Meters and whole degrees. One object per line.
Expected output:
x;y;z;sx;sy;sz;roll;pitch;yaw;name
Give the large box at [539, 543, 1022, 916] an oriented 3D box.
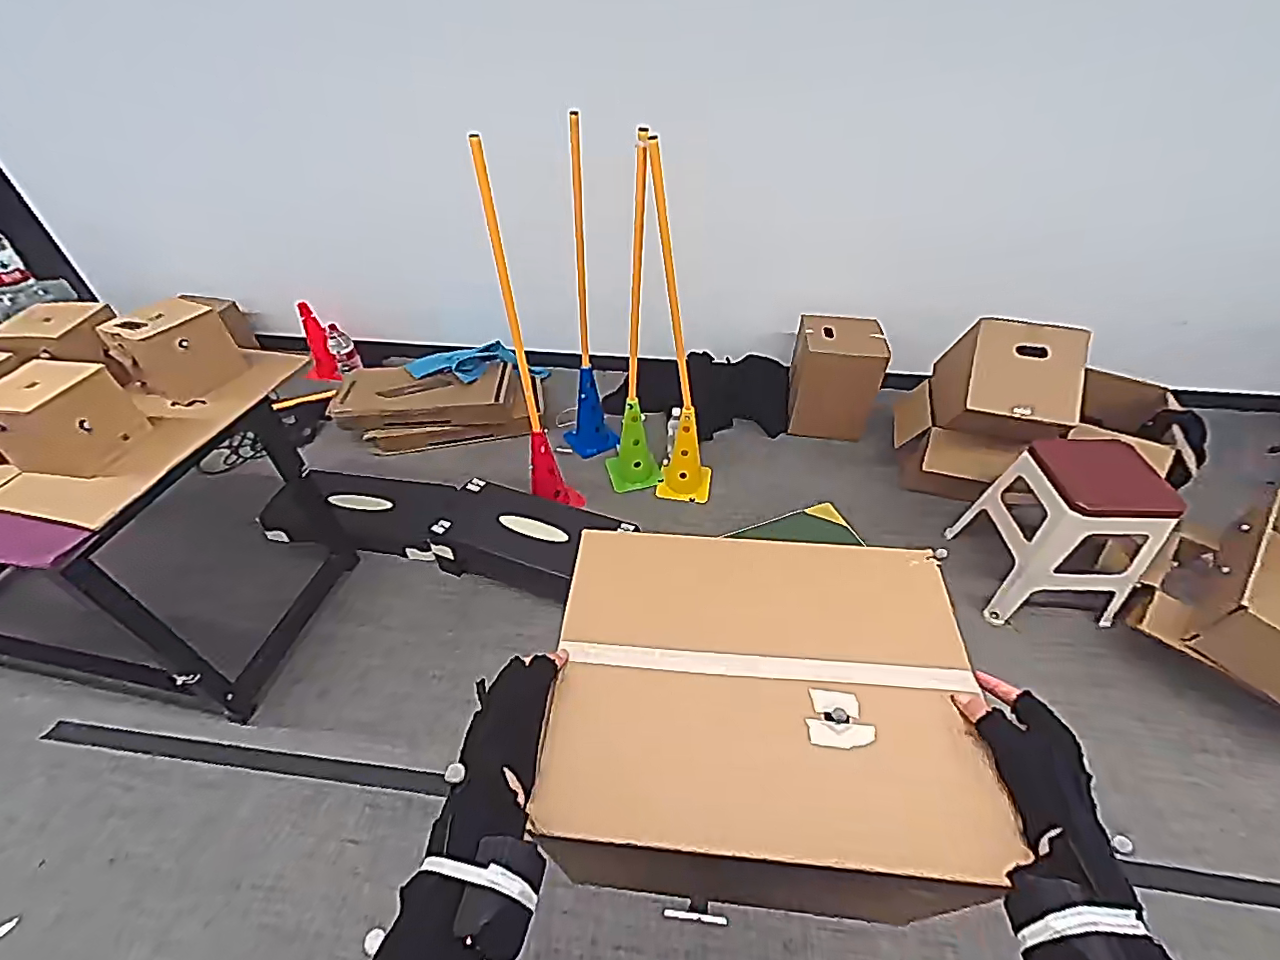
0.124;0.298;0.653;0.408;0.320;0.320;3;48;5;large box
